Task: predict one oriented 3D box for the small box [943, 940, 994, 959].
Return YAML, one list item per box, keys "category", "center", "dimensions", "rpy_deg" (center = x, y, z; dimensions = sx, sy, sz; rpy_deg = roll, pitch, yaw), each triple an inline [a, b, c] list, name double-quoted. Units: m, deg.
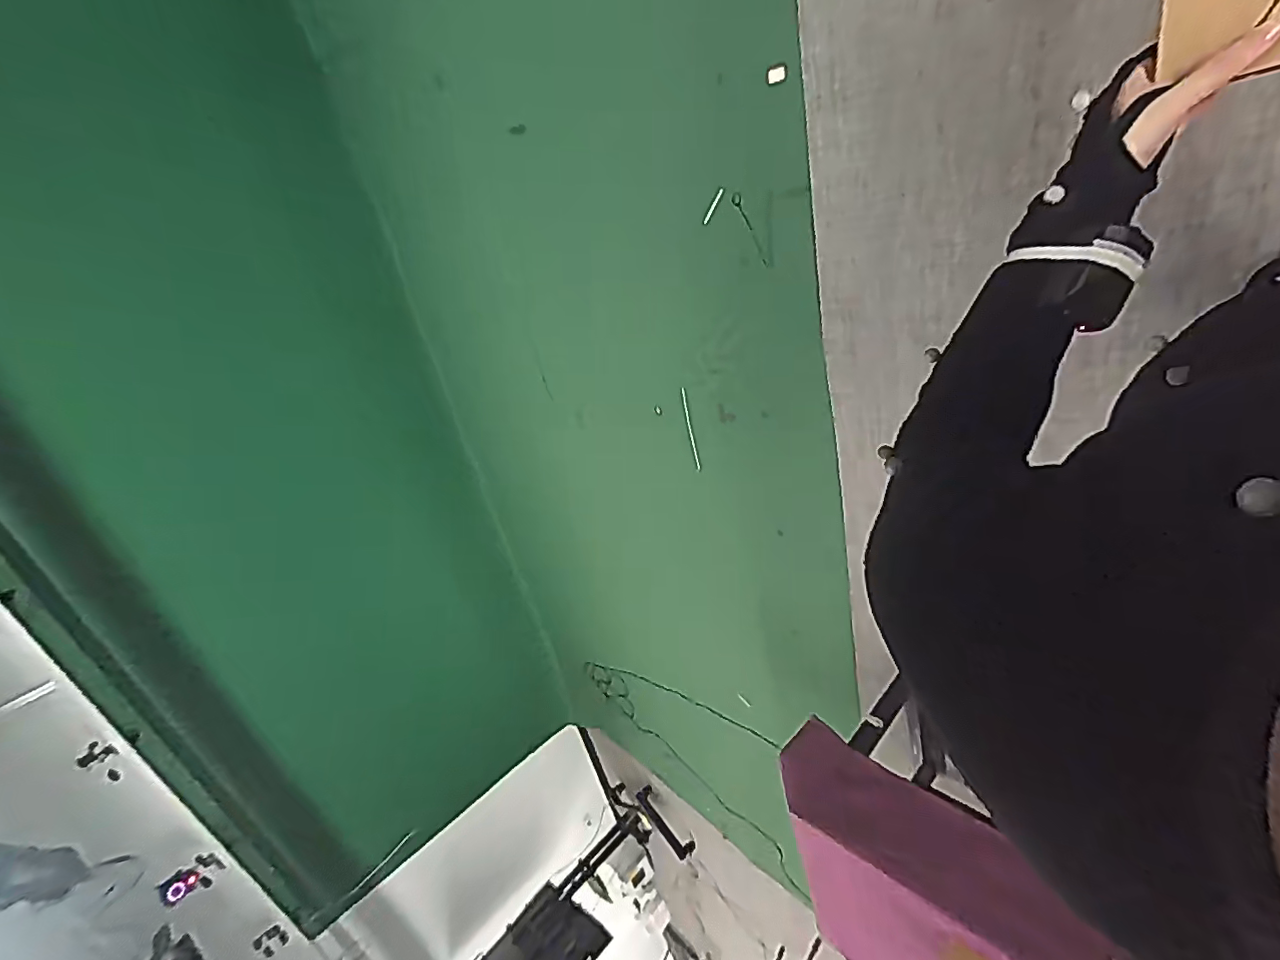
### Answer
- category: "small box"
  center: [0.732, 1.142, 1.153]
  dimensions: [0.179, 0.176, 0.168]
  rpy_deg: [13, 127, 48]
